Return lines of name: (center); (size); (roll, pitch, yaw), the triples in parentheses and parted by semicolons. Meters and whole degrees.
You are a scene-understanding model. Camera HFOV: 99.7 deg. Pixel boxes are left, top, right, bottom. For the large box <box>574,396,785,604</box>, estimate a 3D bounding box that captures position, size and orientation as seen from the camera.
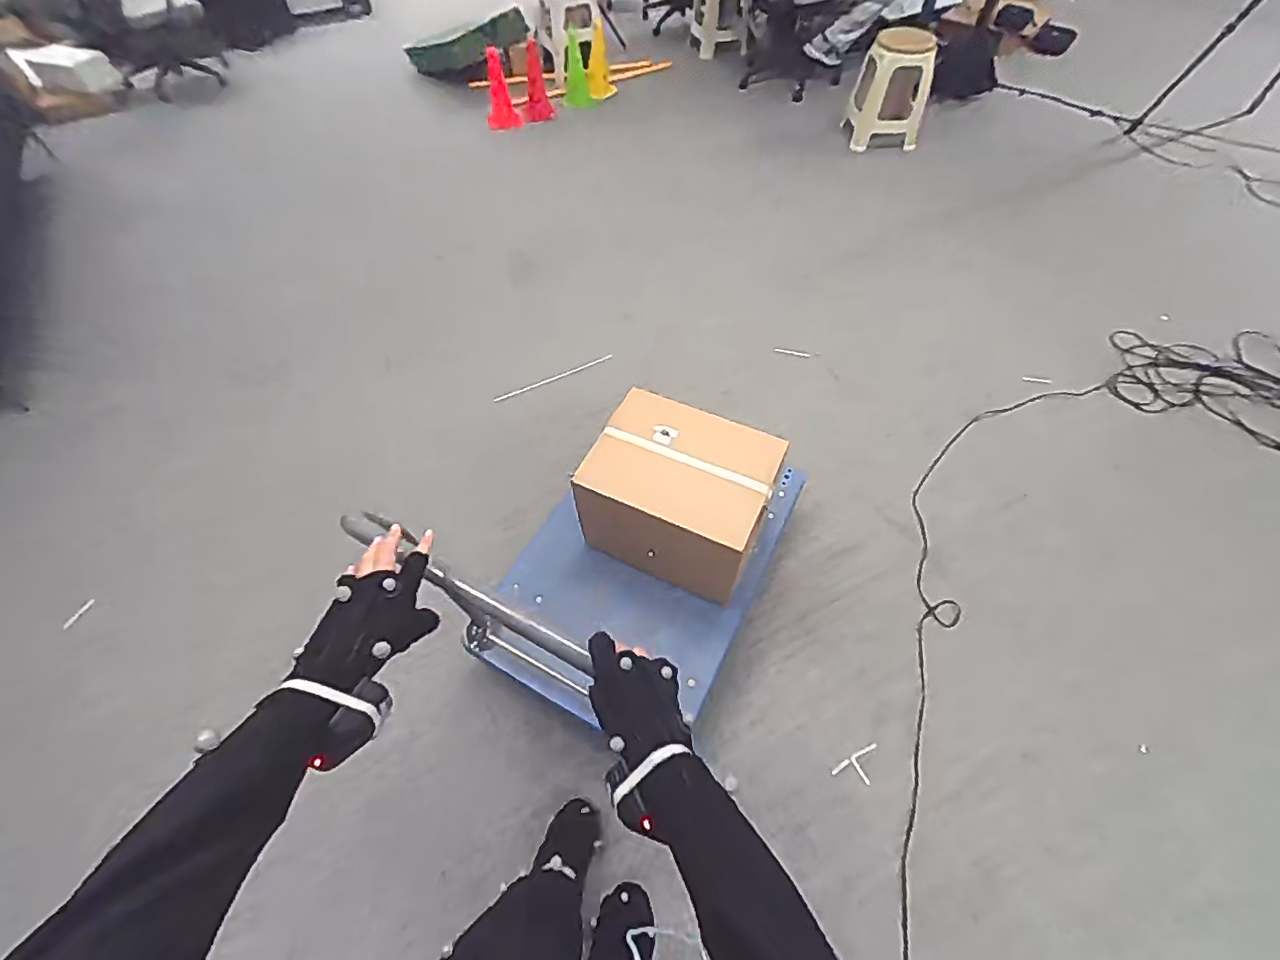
large box: (0.102, 0.052, 1.338); (0.408, 0.320, 0.320); (20, 58, 16)
